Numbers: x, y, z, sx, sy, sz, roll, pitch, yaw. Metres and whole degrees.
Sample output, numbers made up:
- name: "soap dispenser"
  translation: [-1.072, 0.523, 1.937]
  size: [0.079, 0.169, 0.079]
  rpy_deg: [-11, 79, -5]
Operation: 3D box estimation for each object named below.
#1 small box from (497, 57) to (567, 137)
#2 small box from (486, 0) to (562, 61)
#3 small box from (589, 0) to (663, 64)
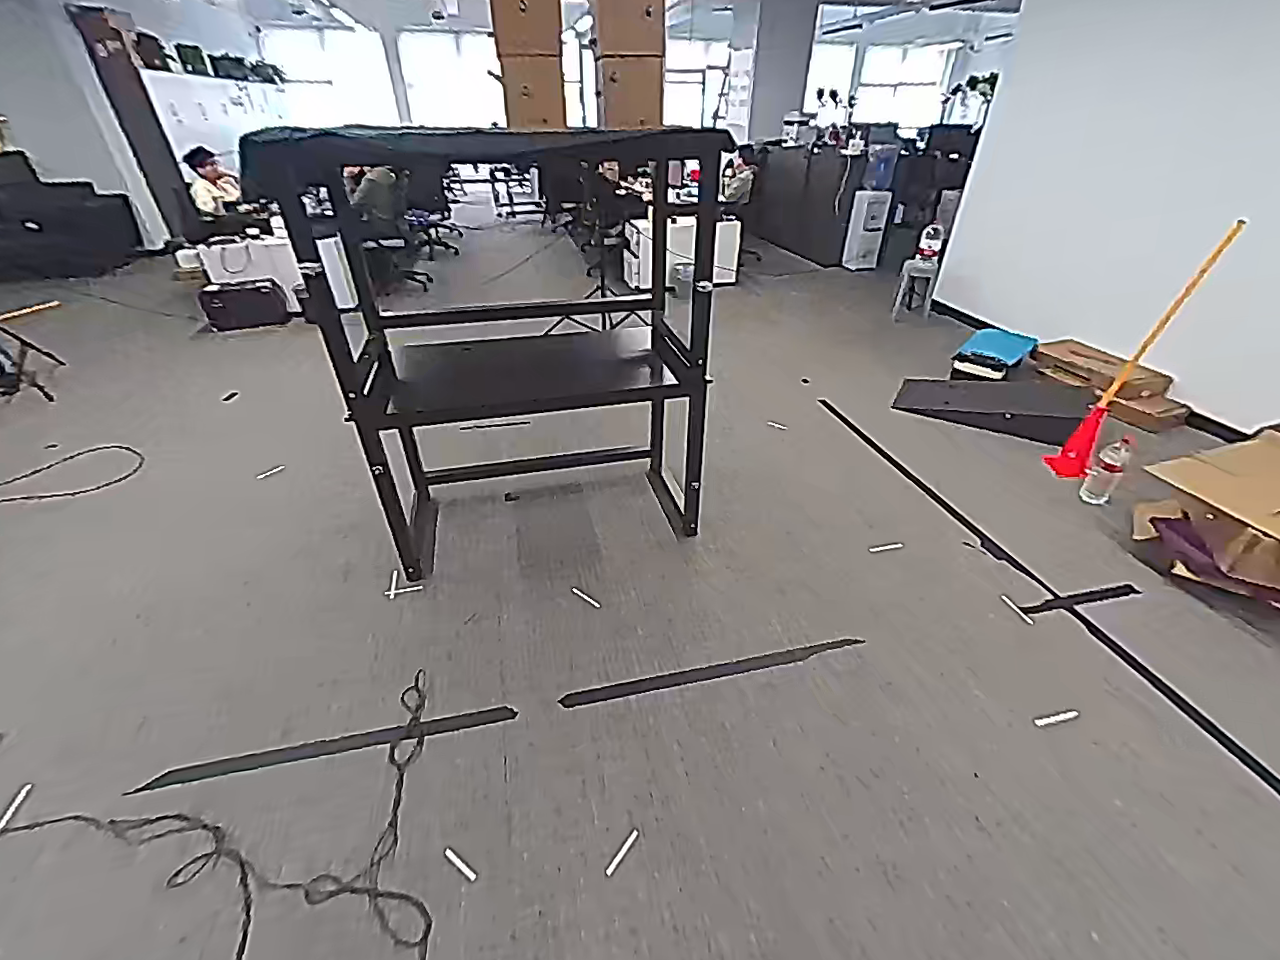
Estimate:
- name: "small box"
  translation: [-0.294, -1.049, 1.487]
  size: [0.168, 0.176, 0.179]
  rpy_deg: [-6, 33, -9]
- name: "small box"
  translation: [-0.296, -1.181, 1.388]
  size: [0.179, 0.176, 0.168]
  rpy_deg: [-7, 33, -7]
- name: "small box"
  translation: [-0.039, -1.209, 1.426]
  size: [0.179, 0.176, 0.168]
  rpy_deg: [-9, 33, -10]
